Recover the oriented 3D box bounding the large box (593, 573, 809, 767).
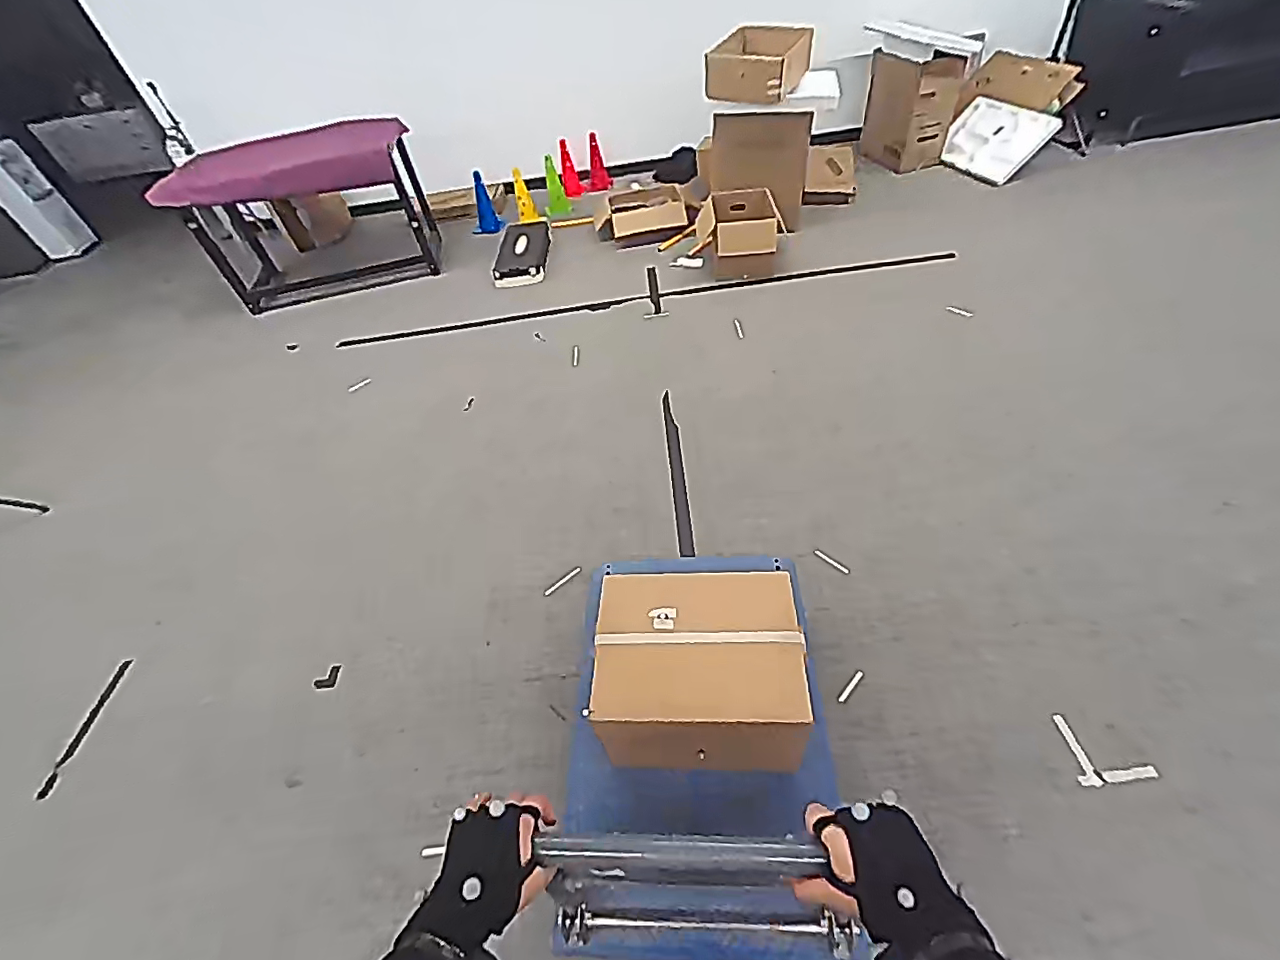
[{"bbox_3d":[0.132,0.427,1.194,0.408,0.320,0.320,-4,46,7],"label":"large box"}]
